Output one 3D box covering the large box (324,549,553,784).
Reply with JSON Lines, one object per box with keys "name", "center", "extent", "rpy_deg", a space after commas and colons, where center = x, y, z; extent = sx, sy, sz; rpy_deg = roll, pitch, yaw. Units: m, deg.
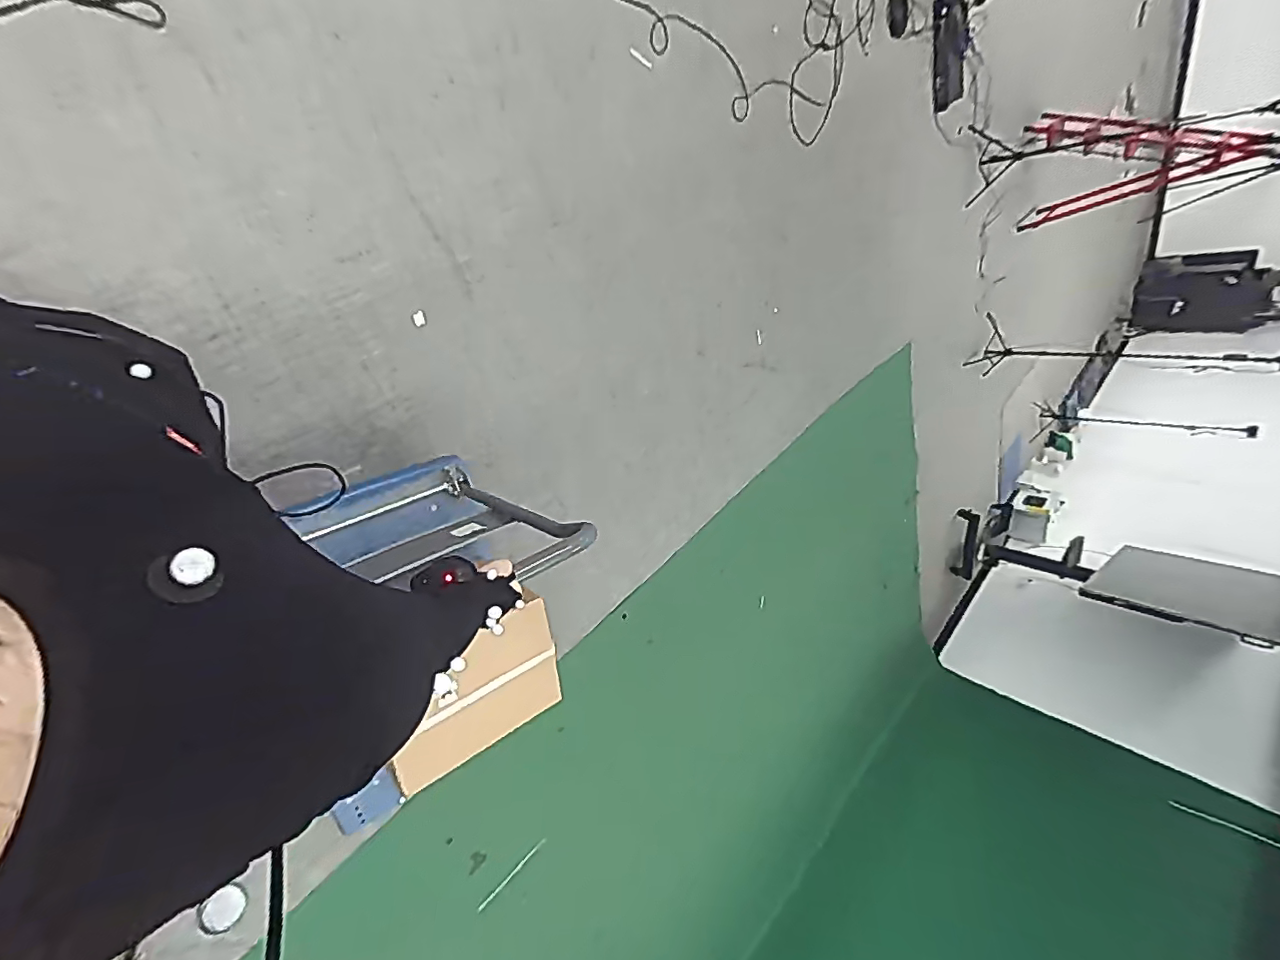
{"name": "large box", "center": [-0.482, 0.418, 1.325], "extent": [0.408, 0.320, 0.320], "rpy_deg": [-22, 115, -35]}
